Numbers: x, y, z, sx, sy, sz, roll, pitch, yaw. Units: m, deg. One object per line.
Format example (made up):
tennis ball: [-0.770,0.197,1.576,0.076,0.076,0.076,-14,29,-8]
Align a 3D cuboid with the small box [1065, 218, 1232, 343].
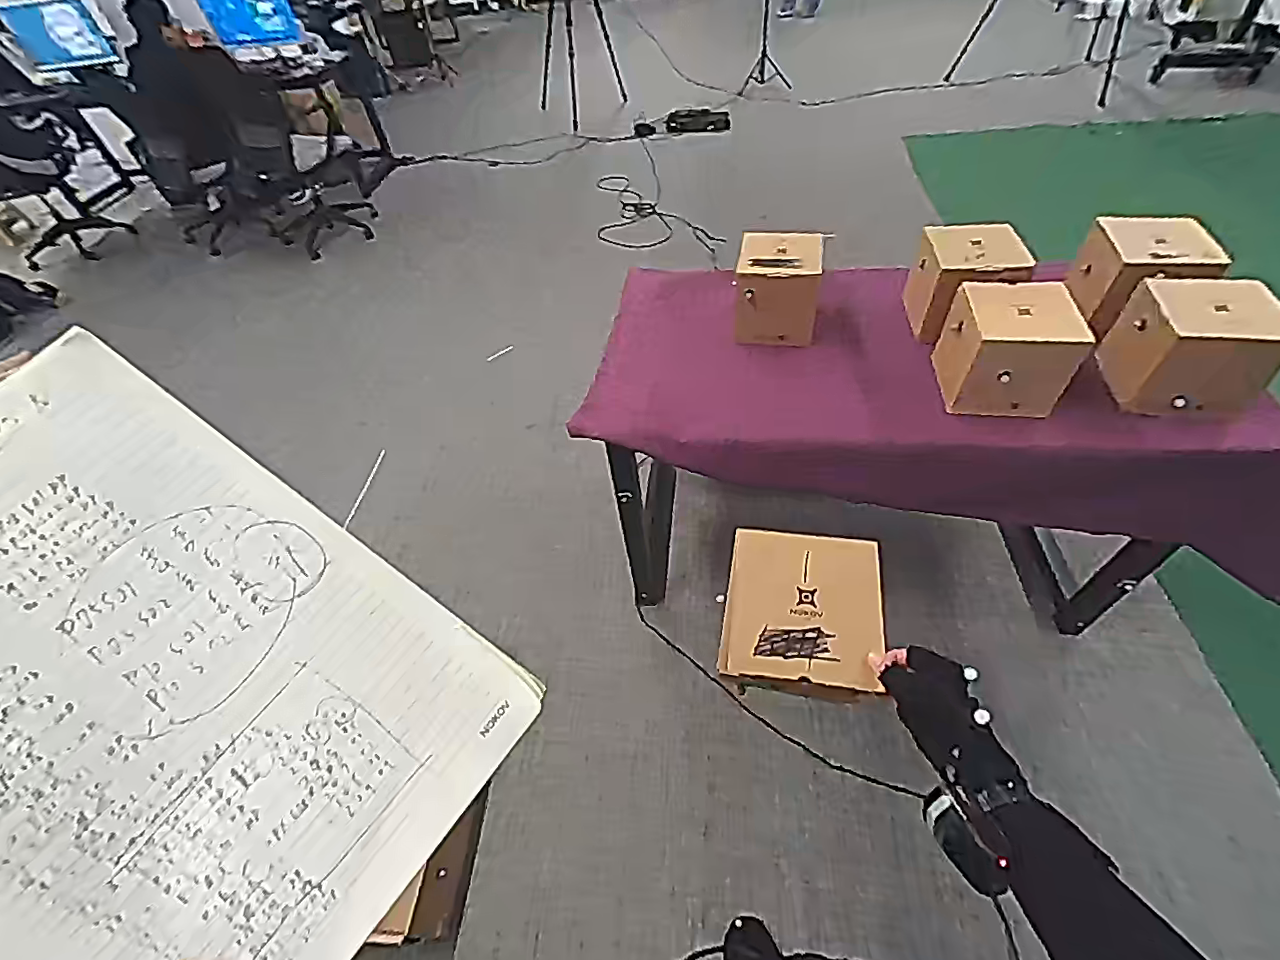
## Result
small box: [0.974,-0.393,1.065,0.168,0.176,0.179,6,51,12]

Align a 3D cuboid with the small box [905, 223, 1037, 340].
small box: [0.665,-0.406,1.113,0.168,0.176,0.179,3,51,9]

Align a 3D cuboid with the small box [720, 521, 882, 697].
small box: [0.198,0.171,0.691,0.168,0.176,0.179,8,68,12]

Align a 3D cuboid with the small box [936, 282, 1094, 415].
small box: [0.655,-0.233,0.970,0.168,0.176,0.179,4,51,11]
